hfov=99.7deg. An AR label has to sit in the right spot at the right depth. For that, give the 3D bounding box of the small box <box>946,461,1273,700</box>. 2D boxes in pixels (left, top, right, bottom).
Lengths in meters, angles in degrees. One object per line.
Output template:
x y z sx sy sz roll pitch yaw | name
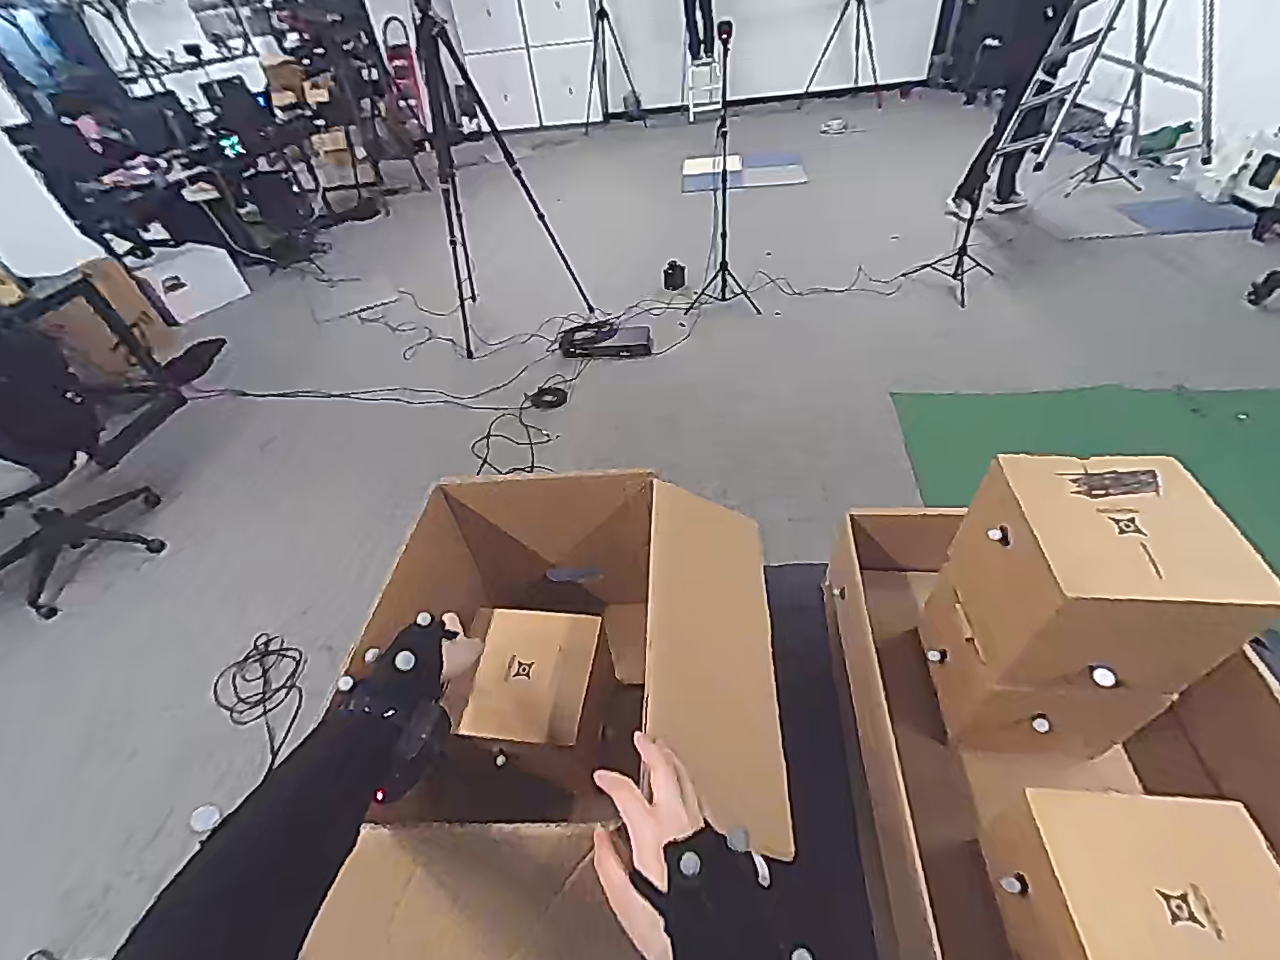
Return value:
0.444 0.101 0.558 0.168 0.176 0.179 1 46 9 | small box
